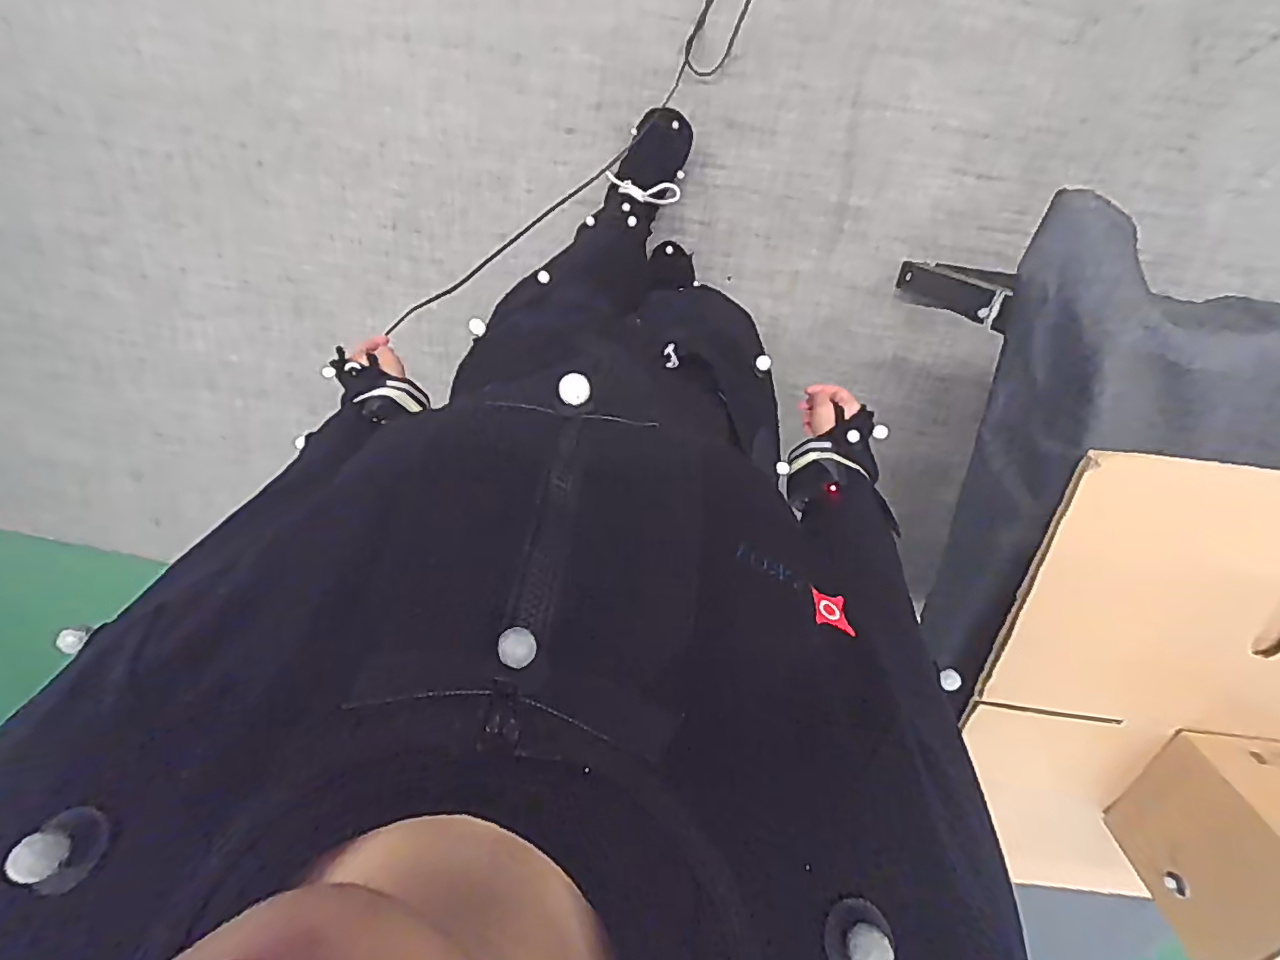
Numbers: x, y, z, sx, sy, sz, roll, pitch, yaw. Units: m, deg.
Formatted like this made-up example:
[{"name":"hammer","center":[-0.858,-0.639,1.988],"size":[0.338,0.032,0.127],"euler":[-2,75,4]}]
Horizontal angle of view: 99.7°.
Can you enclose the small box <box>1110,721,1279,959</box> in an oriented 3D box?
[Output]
[{"name":"small box","center":[0.651,0.384,0.559],"size":[0.168,0.176,0.179],"euler":[5,119,0]}]
